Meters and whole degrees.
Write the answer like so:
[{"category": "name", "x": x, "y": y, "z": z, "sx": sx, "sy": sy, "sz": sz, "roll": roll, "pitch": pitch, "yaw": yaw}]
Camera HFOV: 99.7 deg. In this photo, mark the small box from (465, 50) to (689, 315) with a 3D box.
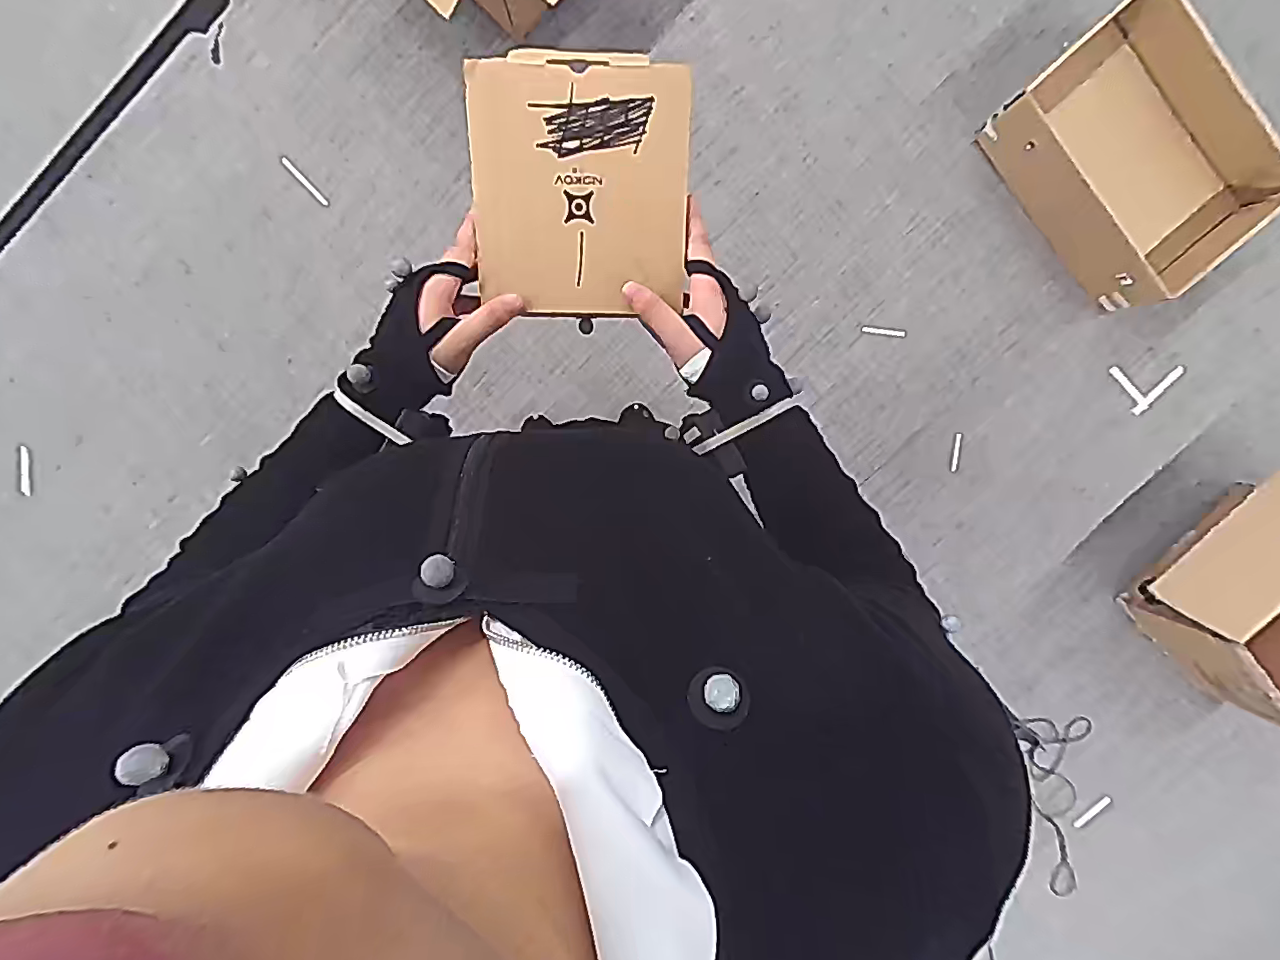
[{"category": "small box", "x": -0.051, "y": -0.244, "z": 0.489, "sx": 0.168, "sy": 0.176, "sz": 0.179, "roll": 1, "pitch": 107, "yaw": -1}]
